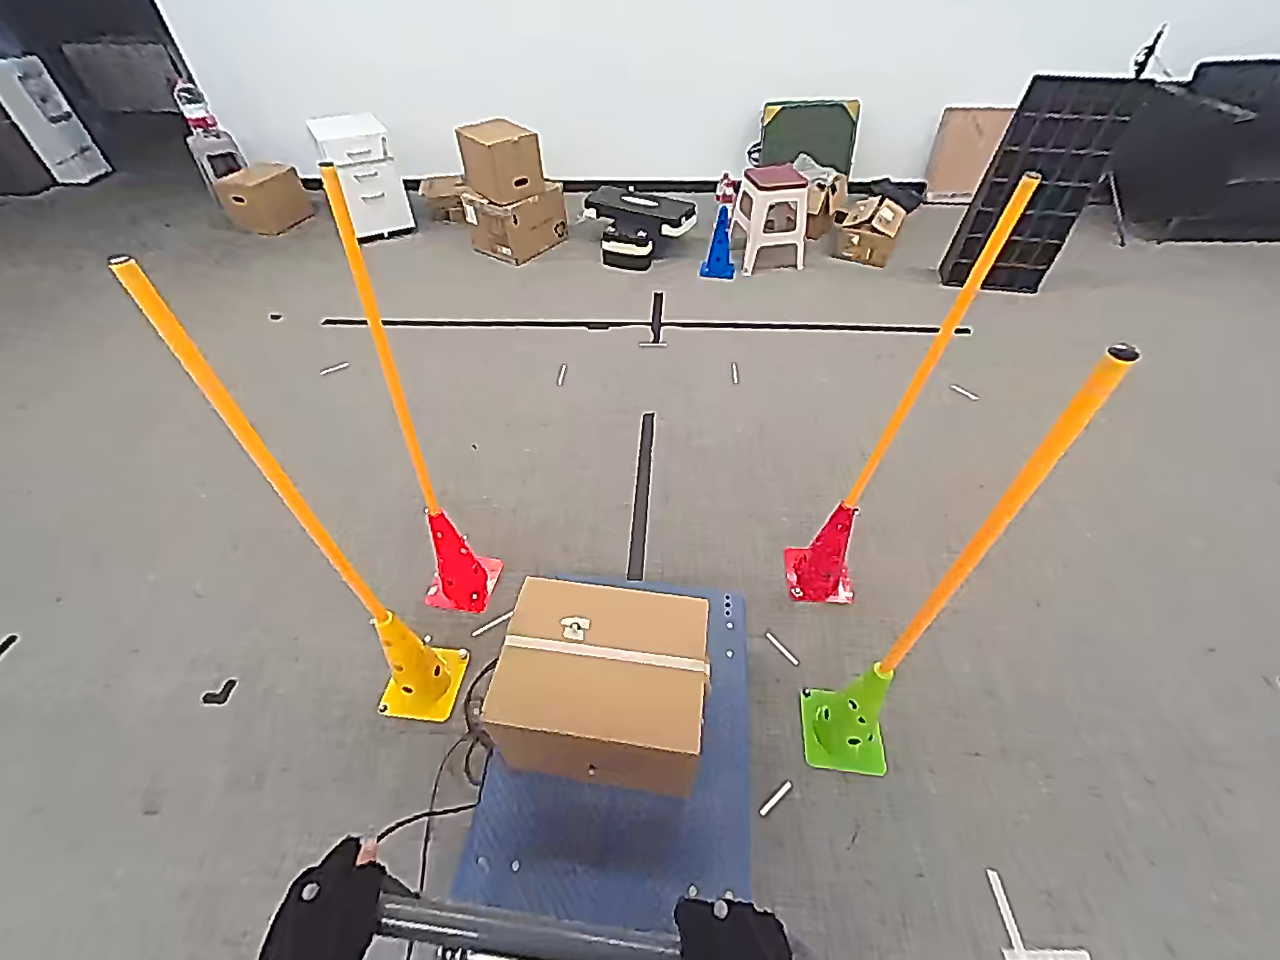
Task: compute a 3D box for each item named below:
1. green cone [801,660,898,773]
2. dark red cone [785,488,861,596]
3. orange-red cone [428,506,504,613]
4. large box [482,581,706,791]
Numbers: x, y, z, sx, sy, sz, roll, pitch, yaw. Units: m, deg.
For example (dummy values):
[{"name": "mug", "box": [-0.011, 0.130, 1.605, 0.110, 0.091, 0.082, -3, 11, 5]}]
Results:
[{"name": "green cone", "box": [0.529, 0.532, 1.292, 0.202, 0.368, 0.200, 6, 47, 4]}, {"name": "dark red cone", "box": [0.578, 0.170, 1.612, 0.201, 0.394, 0.202, 3, 47, 1]}, {"name": "orange-red cone", "box": [-0.556, 0.208, 1.619, 0.198, 0.360, 0.199, 8, 46, 7]}, {"name": "large box", "box": [-0.070, 0.451, 1.179, 0.408, 0.320, 0.320, 6, 47, 7]}]
